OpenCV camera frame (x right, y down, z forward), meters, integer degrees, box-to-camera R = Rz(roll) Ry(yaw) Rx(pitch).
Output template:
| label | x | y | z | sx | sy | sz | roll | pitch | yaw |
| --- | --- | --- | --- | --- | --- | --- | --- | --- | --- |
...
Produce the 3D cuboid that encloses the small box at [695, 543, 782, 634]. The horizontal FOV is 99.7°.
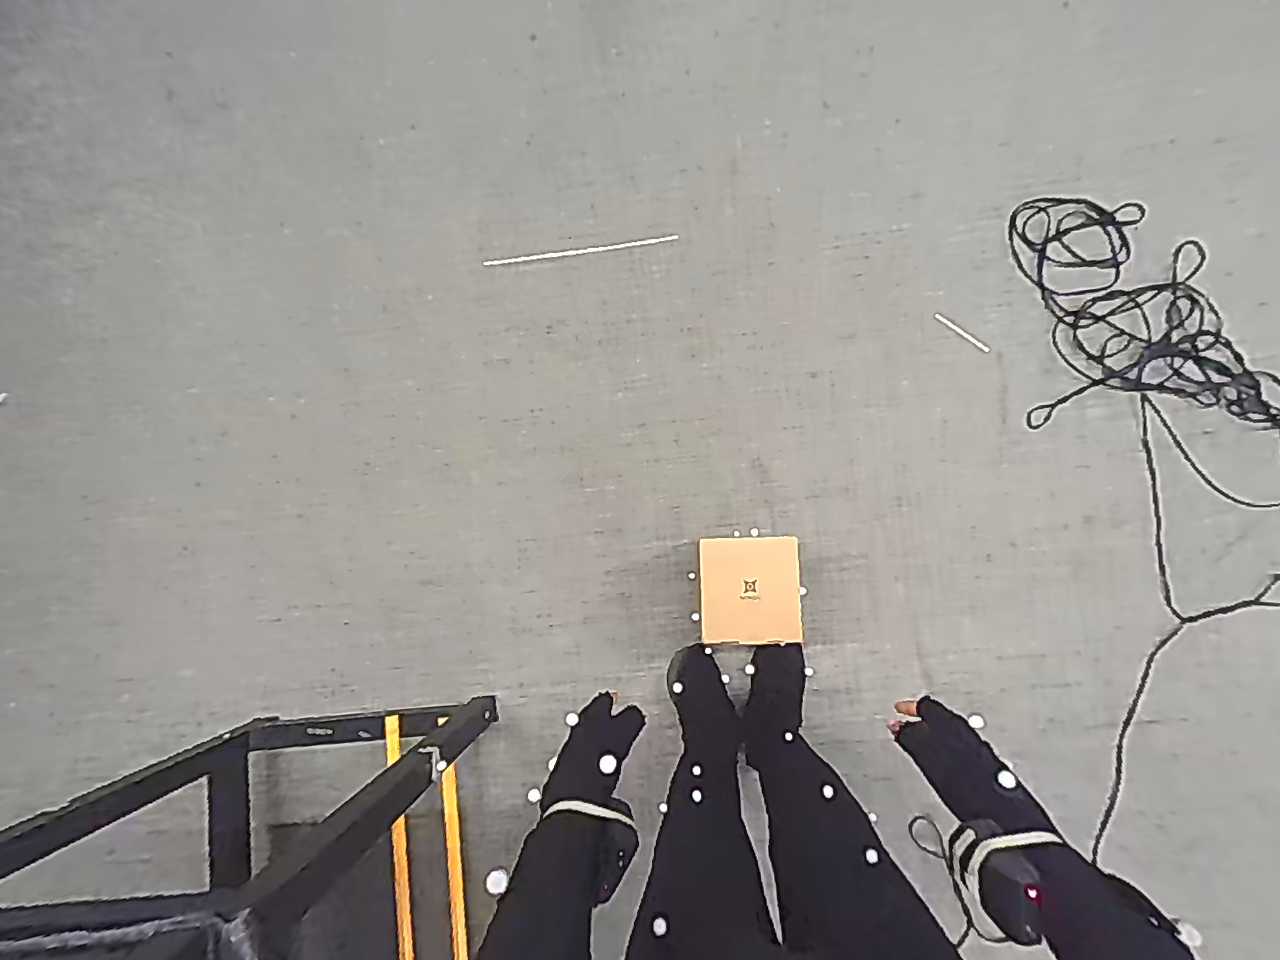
| label | x | y | z | sx | sy | sz | roll | pitch | yaw |
| --- | --- | --- | --- | --- | --- | --- | --- | --- | --- |
| small box | 0.201 | 0.222 | 1.142 | 0.168 | 0.176 | 0.179 | -1 | 84 | 5 |
